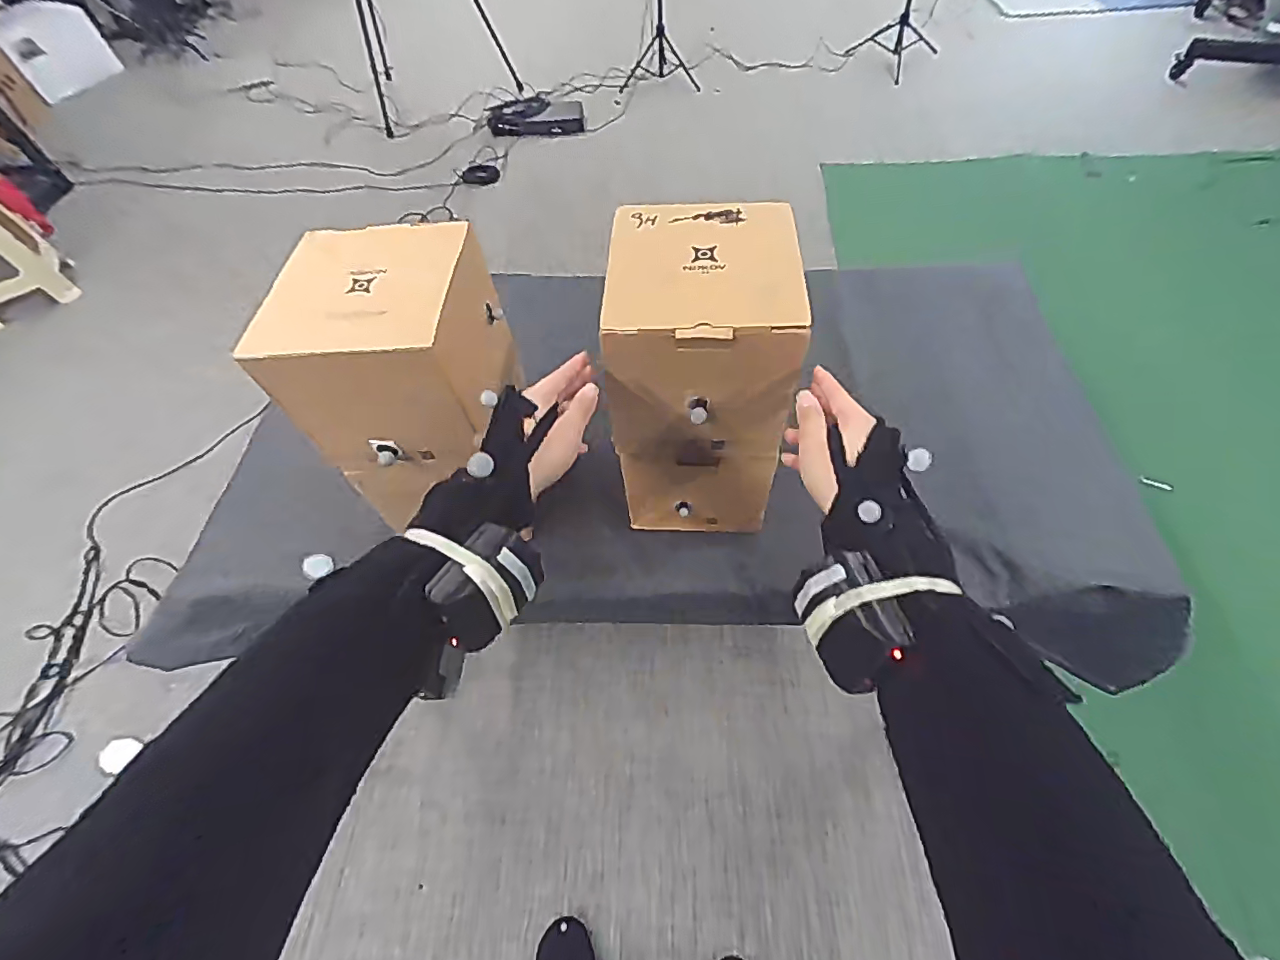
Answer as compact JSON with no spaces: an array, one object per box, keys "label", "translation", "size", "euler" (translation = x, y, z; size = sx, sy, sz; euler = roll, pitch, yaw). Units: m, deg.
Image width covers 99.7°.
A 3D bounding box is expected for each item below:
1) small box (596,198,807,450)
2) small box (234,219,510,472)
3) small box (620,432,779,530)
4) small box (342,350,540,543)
[{"label":"small box","translation":[0.057,-0.142,0.524],"size":[0.168,0.176,0.179],"euler":[1,58,4]},{"label":"small box","translation":[-0.234,-0.127,0.532],"size":[0.168,0.176,0.179],"euler":[-3,57,3]},{"label":"small box","translation":[0.068,-0.057,0.664],"size":[0.168,0.176,0.179],"euler":[1,57,4]},{"label":"small box","translation":[-0.225,-0.038,0.668],"size":[0.168,0.176,0.179],"euler":[-2,57,3]}]
